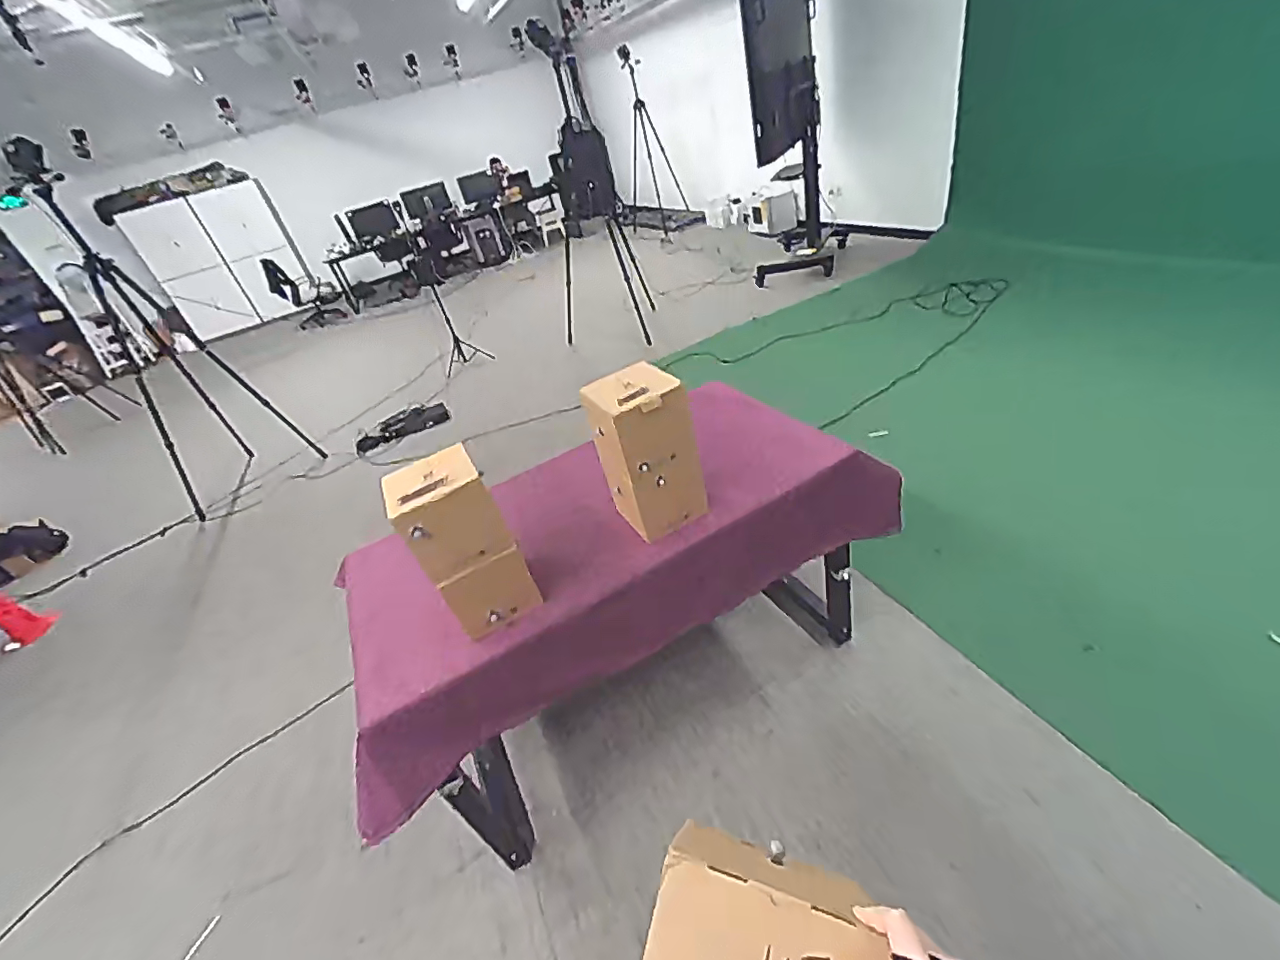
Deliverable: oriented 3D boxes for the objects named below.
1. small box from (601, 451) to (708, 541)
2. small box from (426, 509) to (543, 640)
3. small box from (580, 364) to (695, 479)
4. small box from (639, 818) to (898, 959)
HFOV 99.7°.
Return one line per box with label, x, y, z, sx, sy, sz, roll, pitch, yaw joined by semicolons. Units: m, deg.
small box;0.035;0.010;1.245;0.168;0.176;0.179;-28;35;-15
small box;-0.323;0.197;1.131;0.168;0.176;0.179;-27;36;-14
small box;-0.002;-0.122;1.154;0.168;0.176;0.179;-27;35;-16
small box;0.087;0.399;0.427;0.168;0.176;0.179;12;67;16
